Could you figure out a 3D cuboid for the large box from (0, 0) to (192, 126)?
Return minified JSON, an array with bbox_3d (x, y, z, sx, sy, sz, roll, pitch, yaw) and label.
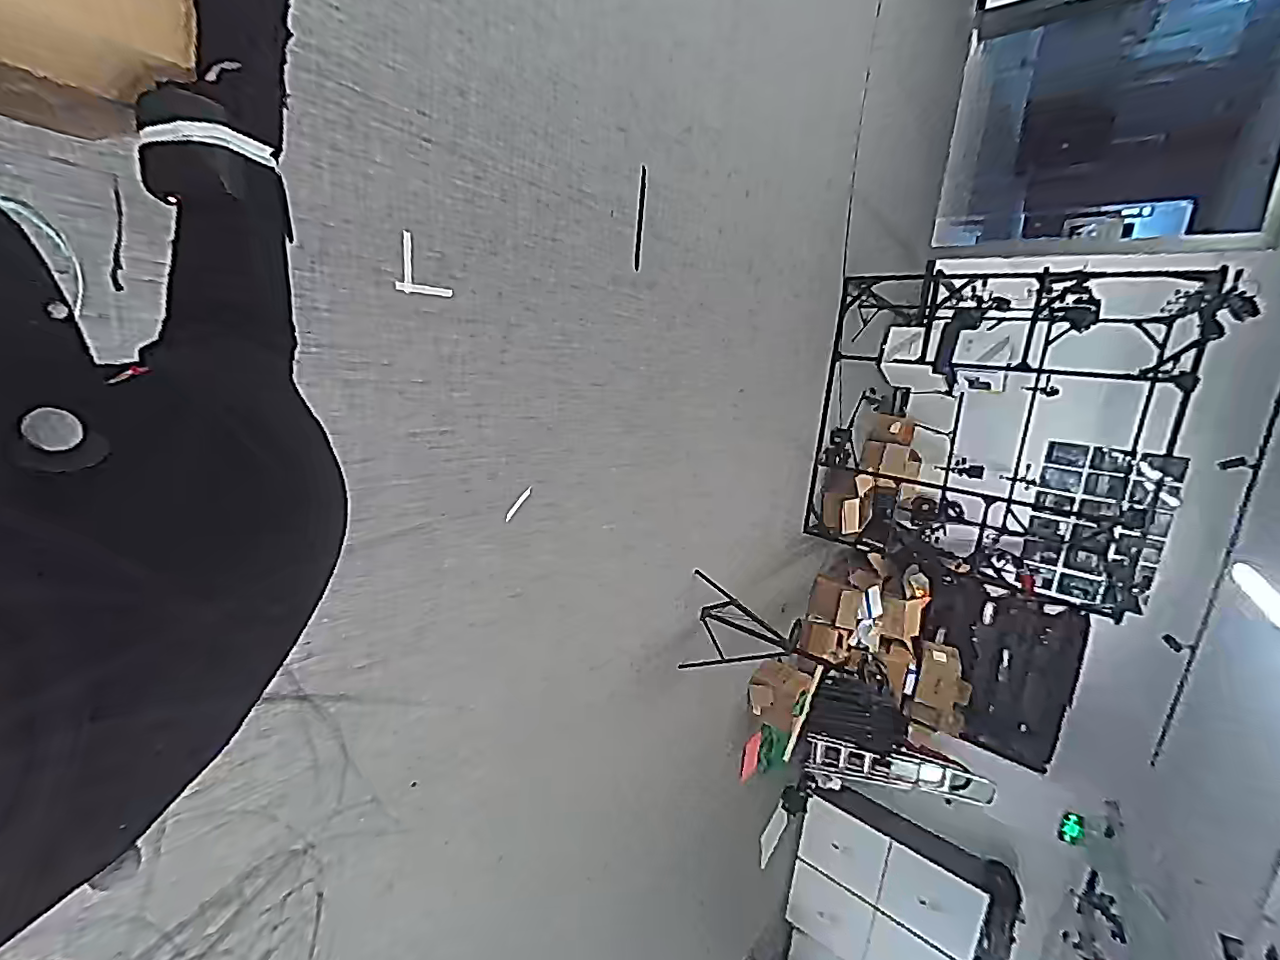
[{"bbox_3d":[-0.538,-0.440,0.280,0.408,0.320,0.320,-9,116,-55],"label":"large box"}]
